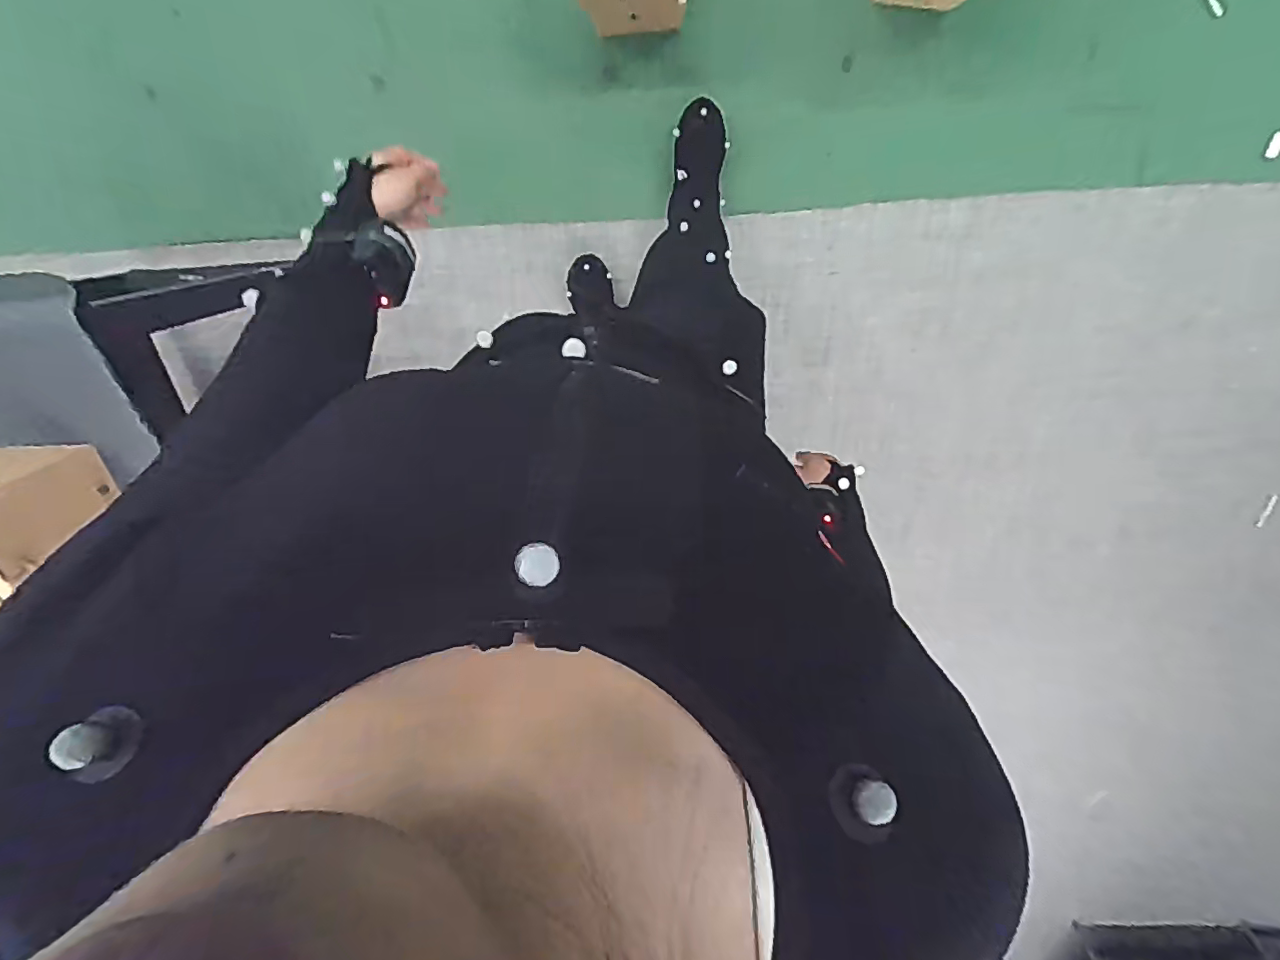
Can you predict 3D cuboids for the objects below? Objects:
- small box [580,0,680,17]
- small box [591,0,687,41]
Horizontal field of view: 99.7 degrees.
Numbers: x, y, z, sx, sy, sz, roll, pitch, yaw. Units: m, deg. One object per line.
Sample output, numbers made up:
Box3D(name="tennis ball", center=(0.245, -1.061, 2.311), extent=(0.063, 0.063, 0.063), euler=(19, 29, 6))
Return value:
Box3D(name="small box", center=(-0.018, -0.860, 0.855), extent=(0.179, 0.176, 0.168), euler=(-1, 118, 1))
Box3D(name="small box", center=(-0.004, -0.937, 0.998), extent=(0.179, 0.176, 0.168), euler=(-3, 118, 2))
